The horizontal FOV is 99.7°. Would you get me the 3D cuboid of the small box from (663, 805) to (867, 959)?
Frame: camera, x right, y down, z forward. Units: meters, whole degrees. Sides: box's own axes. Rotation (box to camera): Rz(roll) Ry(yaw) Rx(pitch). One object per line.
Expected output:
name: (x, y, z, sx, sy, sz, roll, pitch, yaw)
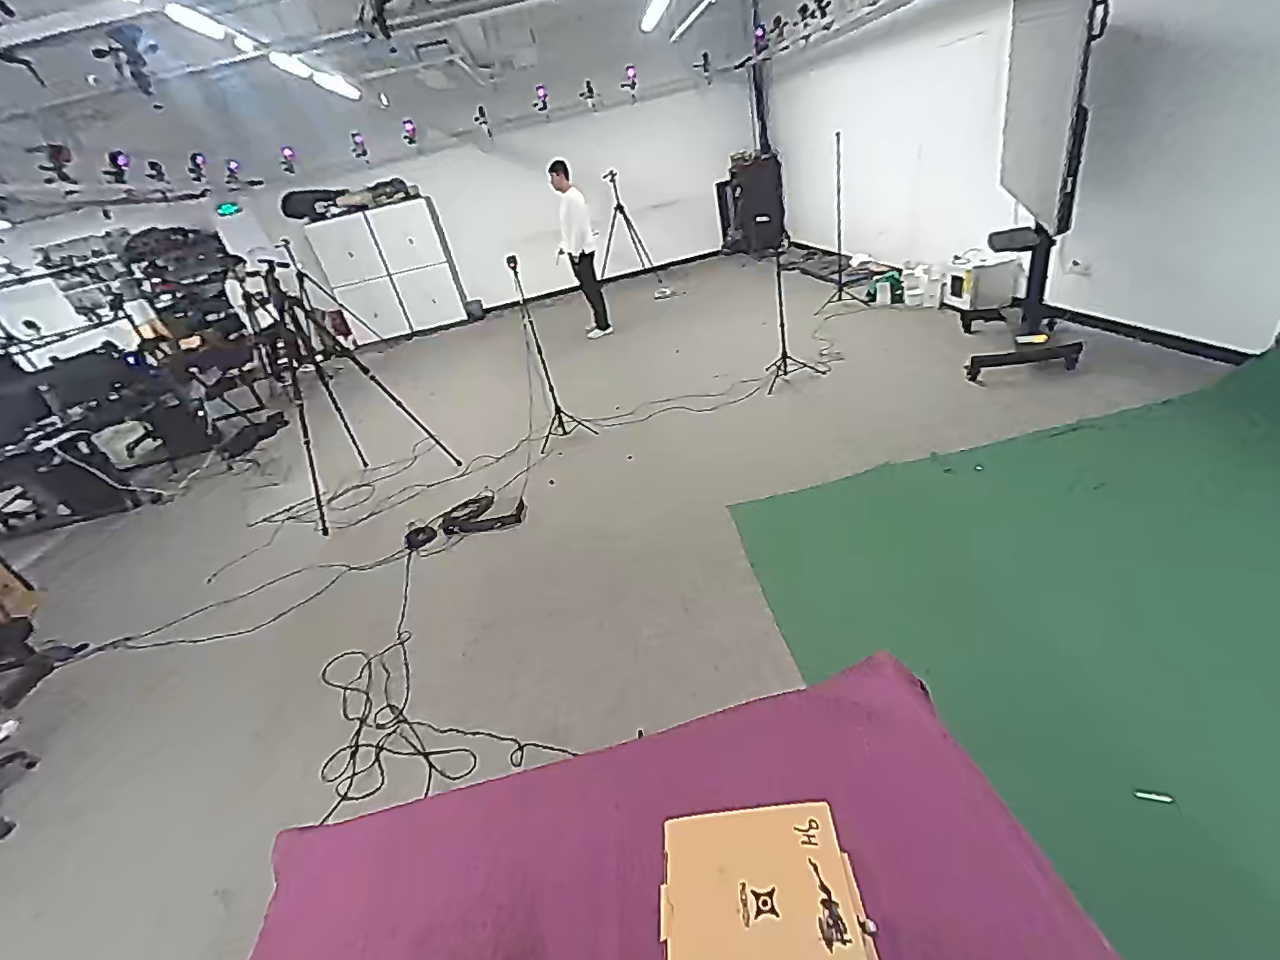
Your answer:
small box: (0.129, 0.458, 0.538, 0.179, 0.176, 0.168, -13, 31, 11)
